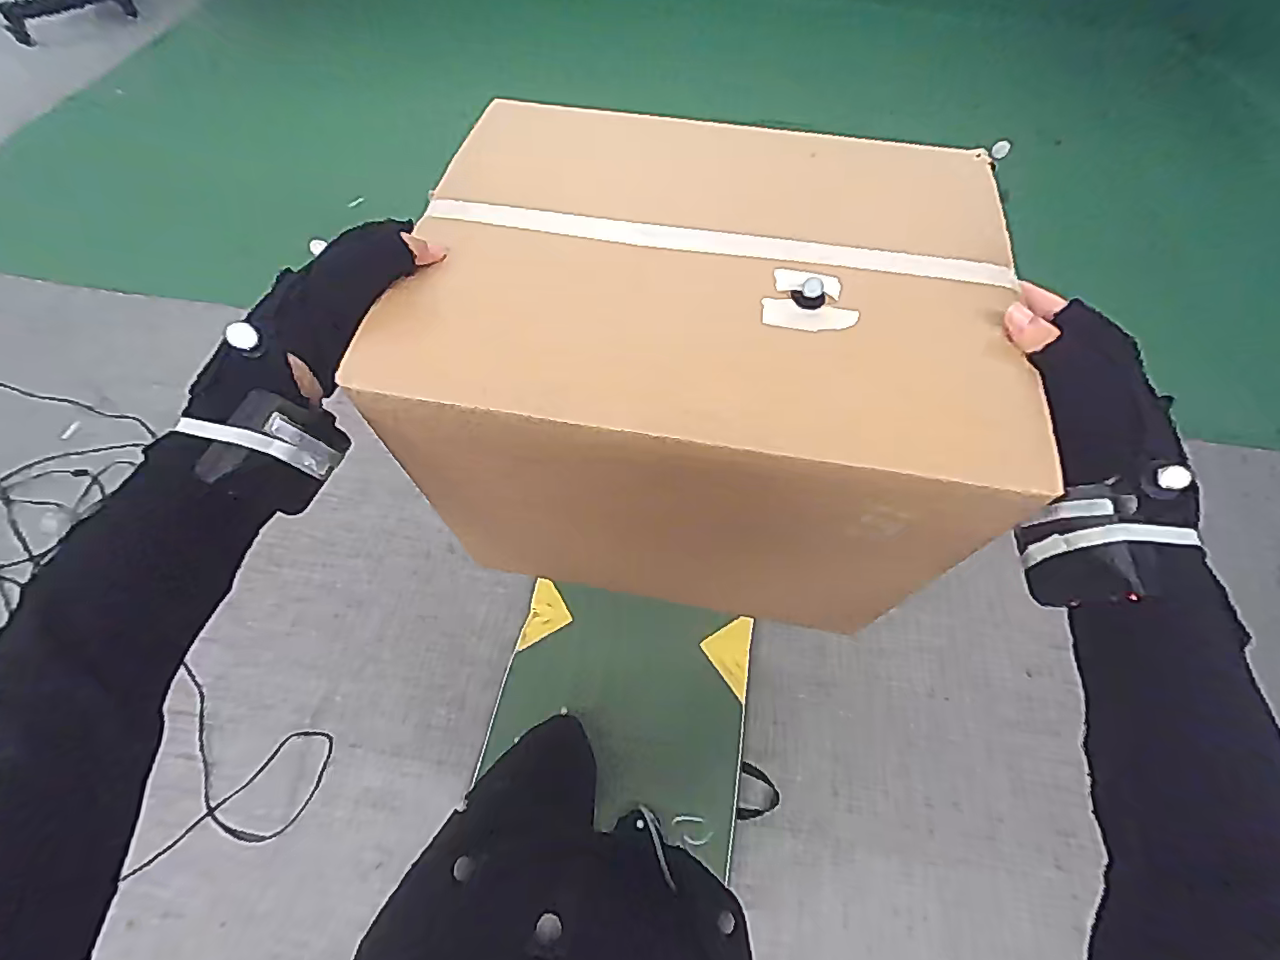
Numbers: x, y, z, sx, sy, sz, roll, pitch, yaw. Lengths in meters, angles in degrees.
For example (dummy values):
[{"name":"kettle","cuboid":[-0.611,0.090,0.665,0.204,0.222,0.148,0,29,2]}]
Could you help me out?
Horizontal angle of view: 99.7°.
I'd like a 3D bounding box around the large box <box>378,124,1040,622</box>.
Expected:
[{"name":"large box","cuboid":[0.052,-0.082,0.519,0.408,0.320,0.320,9,61,4]}]
